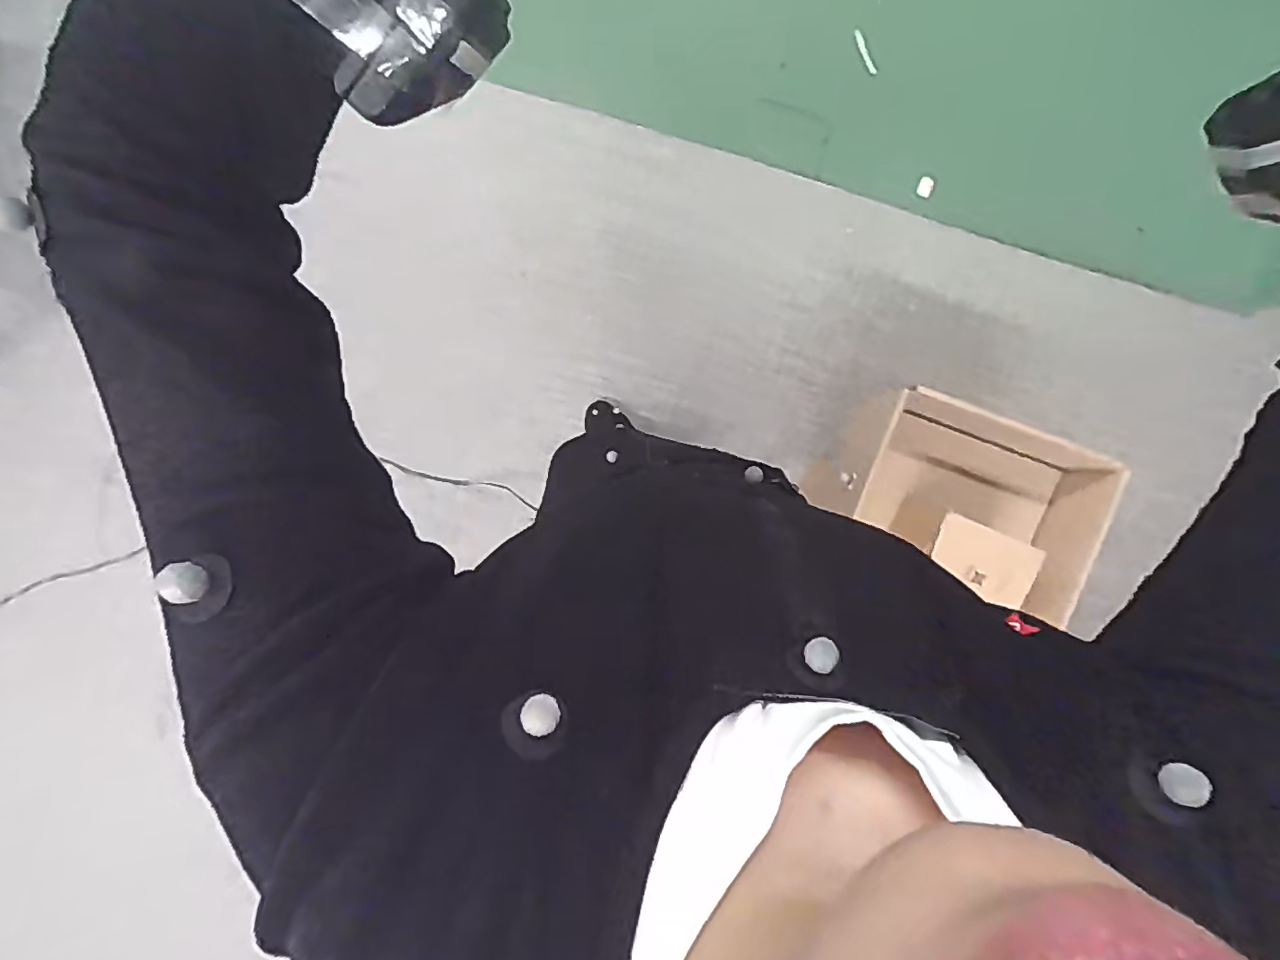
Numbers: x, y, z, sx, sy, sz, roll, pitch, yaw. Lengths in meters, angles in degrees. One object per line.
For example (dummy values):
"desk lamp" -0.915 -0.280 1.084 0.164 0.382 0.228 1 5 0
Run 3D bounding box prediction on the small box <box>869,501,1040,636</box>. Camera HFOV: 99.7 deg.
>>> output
"small box" 0.545 0.146 0.966 0.179 0.176 0.168 23 96 -2
